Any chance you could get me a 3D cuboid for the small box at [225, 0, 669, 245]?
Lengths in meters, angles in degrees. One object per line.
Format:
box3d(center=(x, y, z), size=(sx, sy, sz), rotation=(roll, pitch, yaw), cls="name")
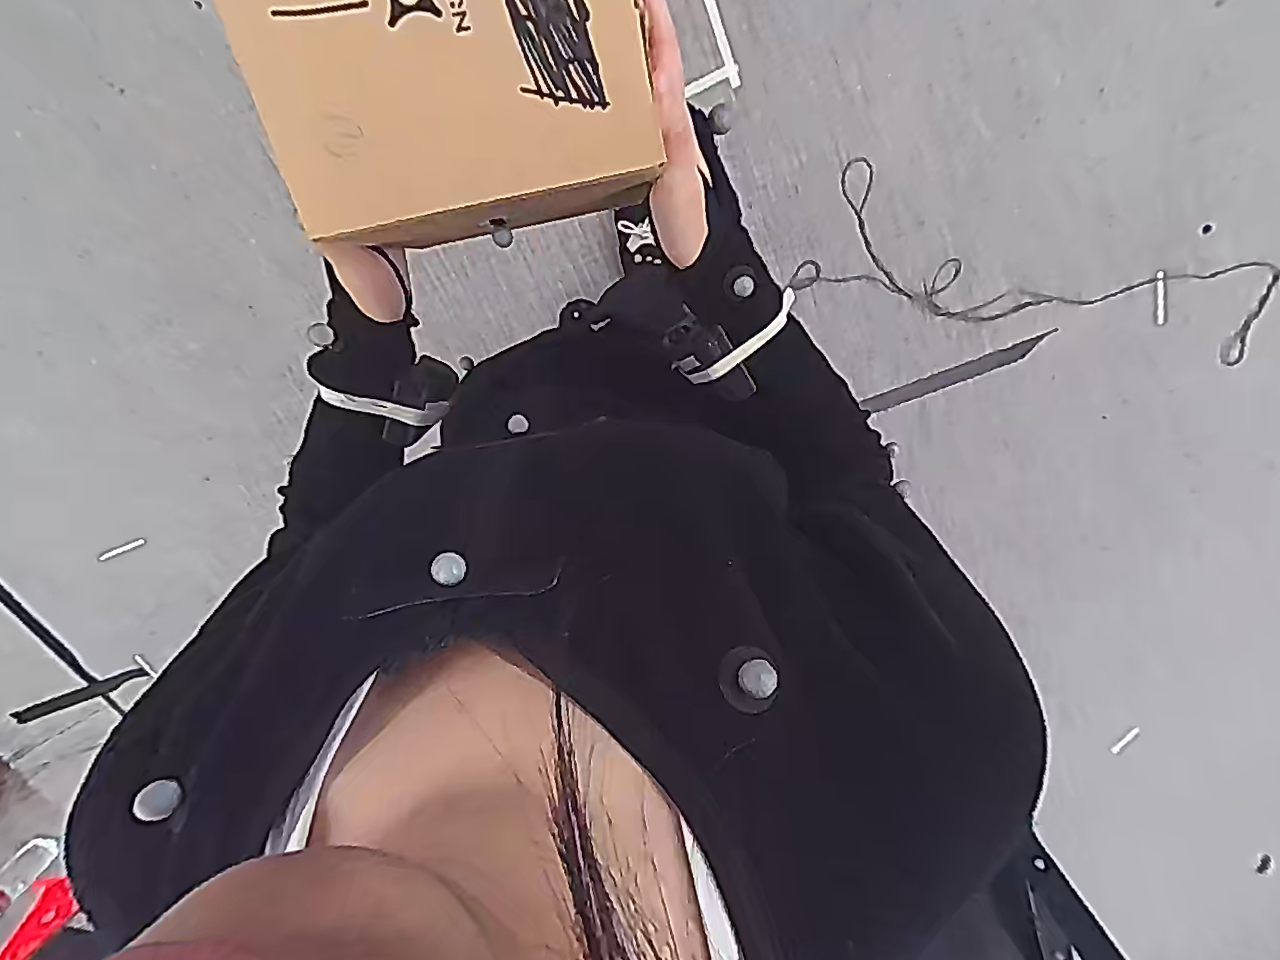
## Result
box3d(center=(-0.090, -0.235, 0.301), size=(0.179, 0.176, 0.168), rotation=(-12, 112, 1), cls="small box")
